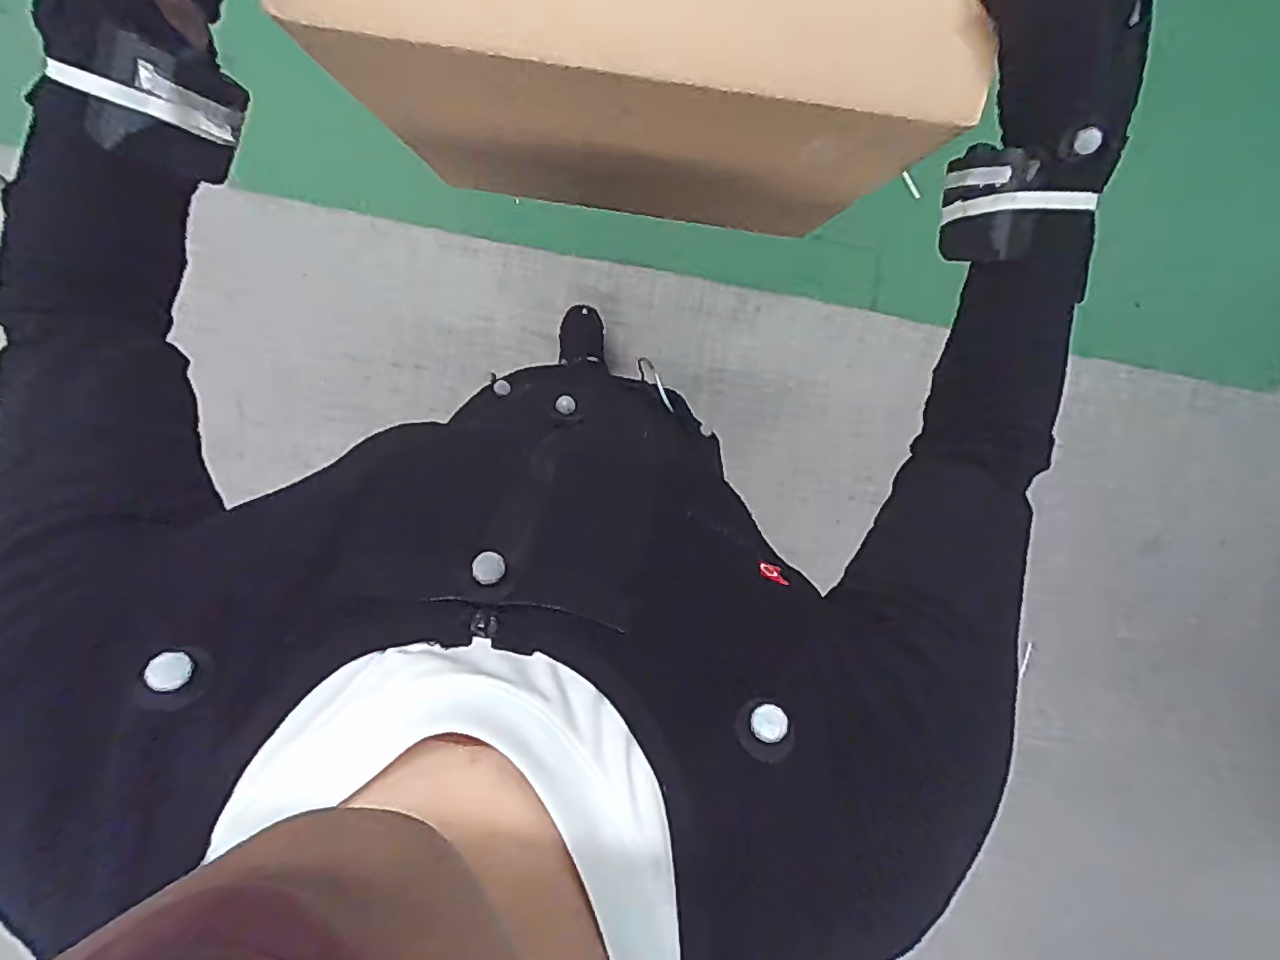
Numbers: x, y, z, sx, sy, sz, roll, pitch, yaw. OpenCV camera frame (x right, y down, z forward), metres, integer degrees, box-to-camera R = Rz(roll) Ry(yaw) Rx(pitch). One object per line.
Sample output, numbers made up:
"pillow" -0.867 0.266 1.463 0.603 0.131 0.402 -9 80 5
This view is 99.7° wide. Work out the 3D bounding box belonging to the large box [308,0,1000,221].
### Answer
"large box" 0.016 -0.425 0.425 0.408 0.320 0.320 6 104 -5
